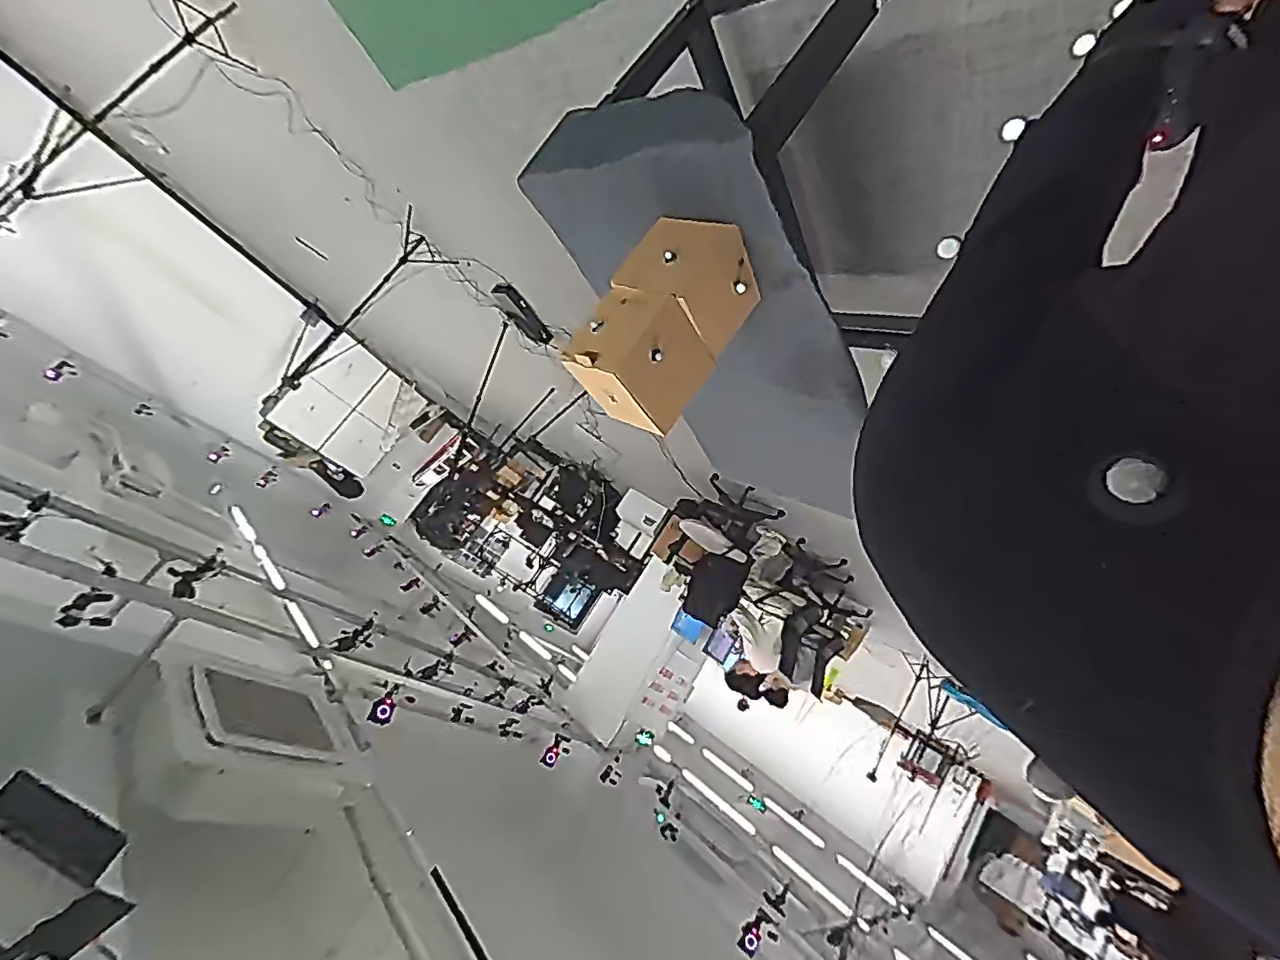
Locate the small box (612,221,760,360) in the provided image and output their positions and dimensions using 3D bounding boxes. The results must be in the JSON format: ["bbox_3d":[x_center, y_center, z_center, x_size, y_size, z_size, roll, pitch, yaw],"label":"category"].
[{"bbox_3d":[0.088,-0.343,0.980,0.179,0.176,0.168,26,166,37],"label":"small box"}]

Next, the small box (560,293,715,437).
[{"bbox_3d":[0.001,-0.208,0.955,0.168,0.176,0.179,26,167,45],"label":"small box"}]
